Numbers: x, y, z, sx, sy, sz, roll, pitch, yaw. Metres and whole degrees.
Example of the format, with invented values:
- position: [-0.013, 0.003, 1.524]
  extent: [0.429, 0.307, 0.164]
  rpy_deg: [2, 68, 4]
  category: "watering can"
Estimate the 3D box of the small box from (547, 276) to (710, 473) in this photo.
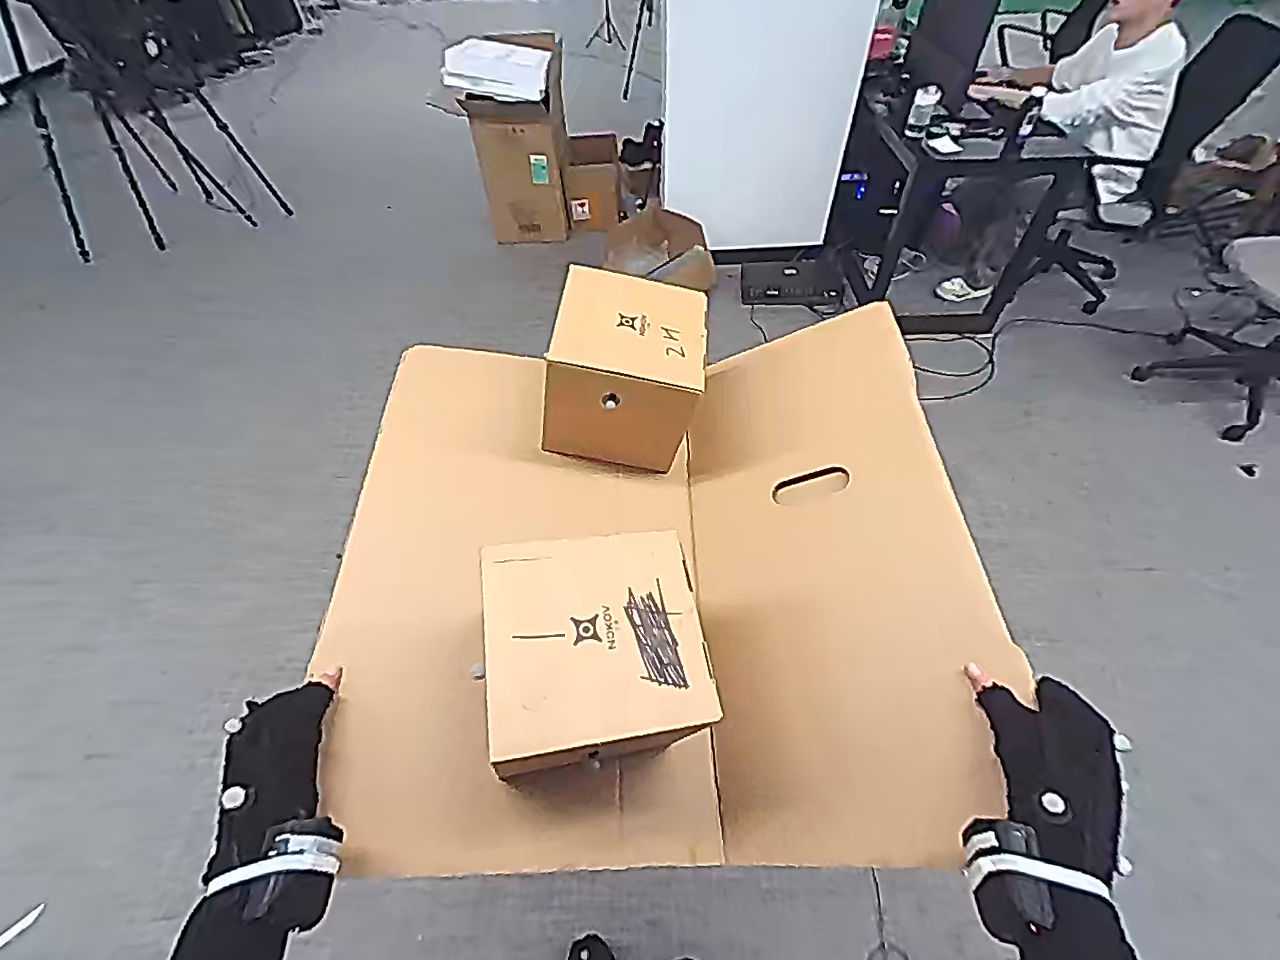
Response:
- position: [-0.020, -0.128, 0.700]
  extent: [0.179, 0.176, 0.168]
  rpy_deg: [12, 57, -6]
  category: "small box"

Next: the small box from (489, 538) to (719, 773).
- position: [-0.048, 0.168, 0.509]
  extent: [0.179, 0.176, 0.168]
  rpy_deg: [-3, 60, -14]
  category: "small box"
